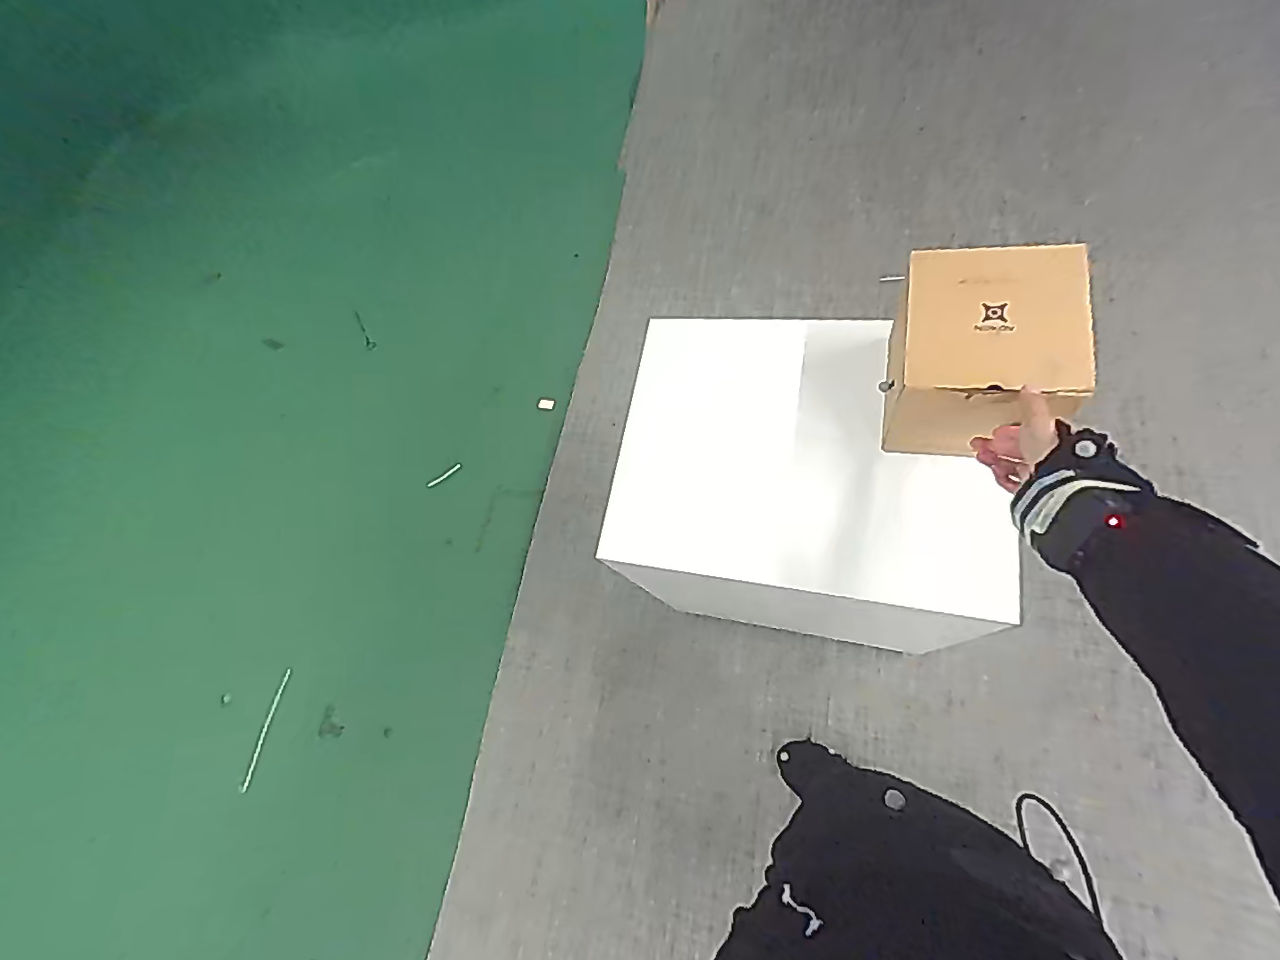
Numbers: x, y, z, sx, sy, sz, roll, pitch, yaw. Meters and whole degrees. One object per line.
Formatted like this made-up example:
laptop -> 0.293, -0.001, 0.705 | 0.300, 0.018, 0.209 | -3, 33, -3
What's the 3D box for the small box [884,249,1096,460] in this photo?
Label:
small box -> 0.384, -0.135, 0.623 | 0.168, 0.176, 0.179 | 5, 70, 18
